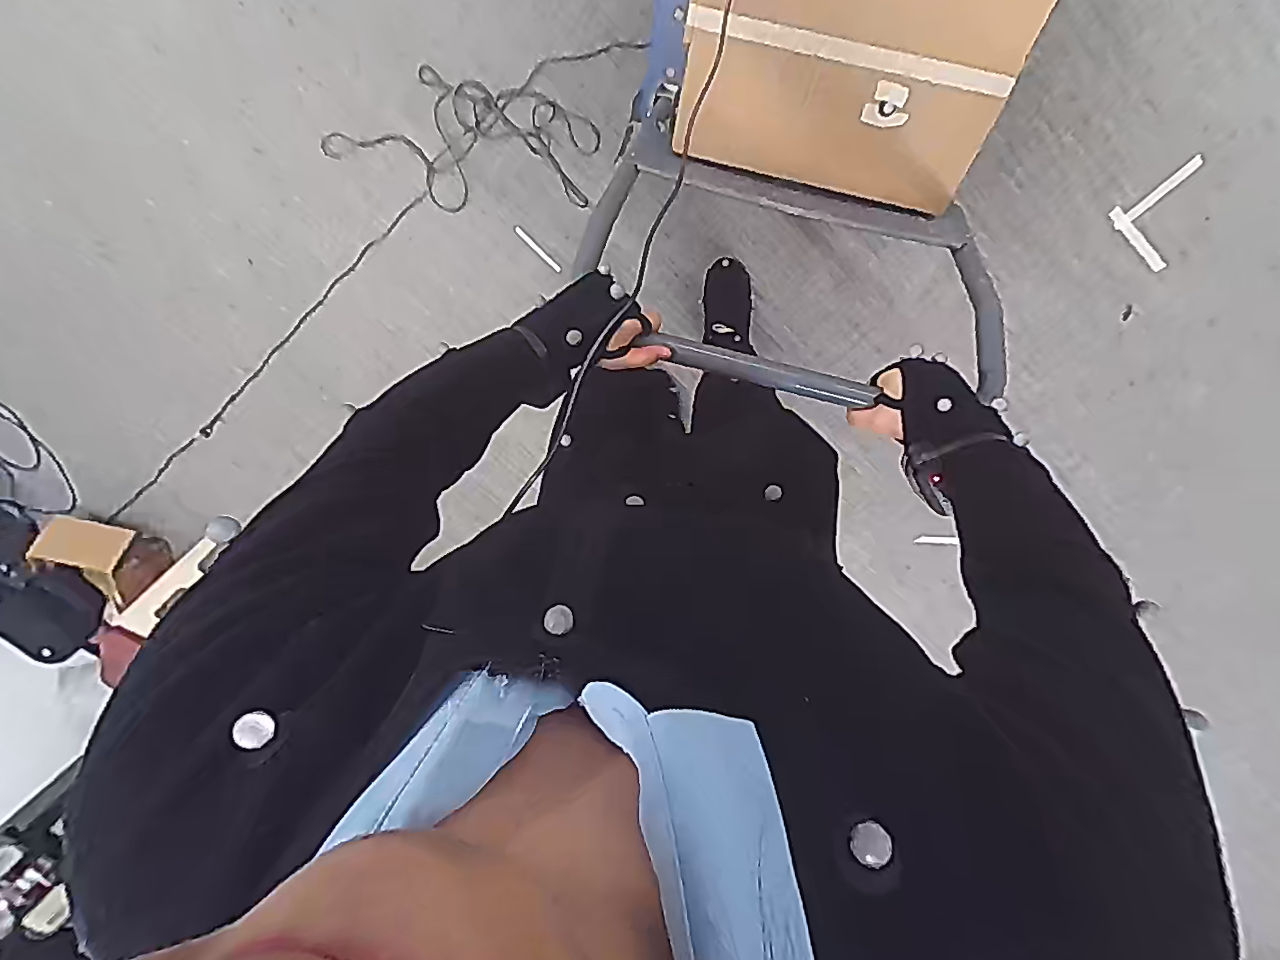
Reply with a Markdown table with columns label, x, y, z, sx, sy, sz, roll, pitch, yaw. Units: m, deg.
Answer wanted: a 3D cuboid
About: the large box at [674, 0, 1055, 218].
| label | x | y | z | sx | sy | sz | roll | pitch | yaw |
| --- | --- | --- | --- | --- | --- | --- | --- | --- | --- |
| large box | 0.286 | -0.628 | 0.781 | 0.408 | 0.320 | 0.320 | 14 | 136 | 0 |
